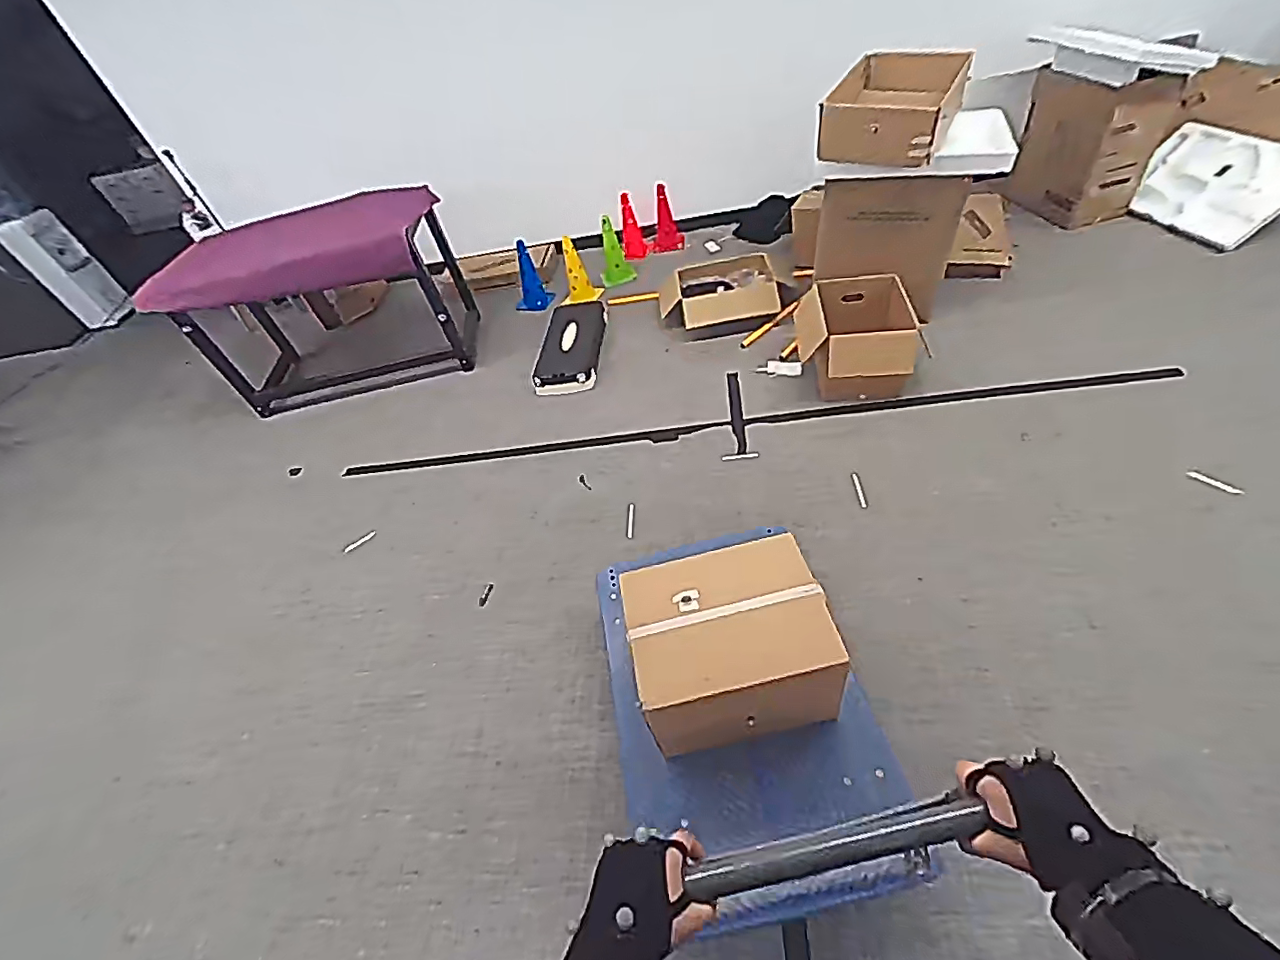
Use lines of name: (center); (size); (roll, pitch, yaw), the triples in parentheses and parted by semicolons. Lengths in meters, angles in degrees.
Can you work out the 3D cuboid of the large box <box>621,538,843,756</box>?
large box: (0.203, 0.388, 1.243); (0.408, 0.320, 0.320); (-15, 45, 2)
